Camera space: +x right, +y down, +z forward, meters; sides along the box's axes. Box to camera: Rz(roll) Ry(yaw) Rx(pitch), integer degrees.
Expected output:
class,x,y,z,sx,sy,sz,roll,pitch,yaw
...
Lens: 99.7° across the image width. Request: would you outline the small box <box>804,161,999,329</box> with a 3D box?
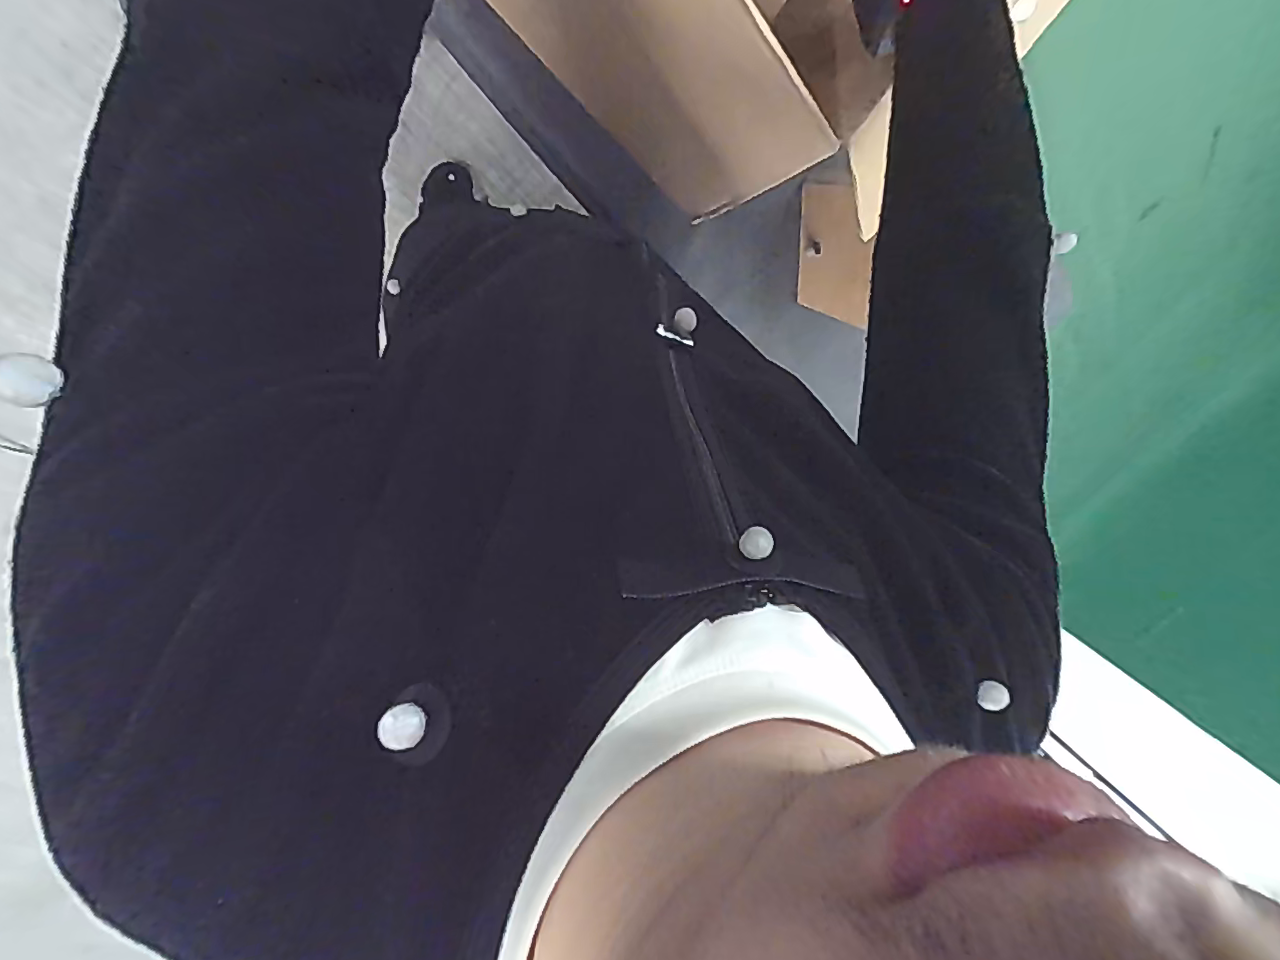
class,x,y,z,sx,sy,sz,roll,pitch,yaw
small box,0.350,-0.336,0.761,0.168,0.176,0.179,-16,126,-12
